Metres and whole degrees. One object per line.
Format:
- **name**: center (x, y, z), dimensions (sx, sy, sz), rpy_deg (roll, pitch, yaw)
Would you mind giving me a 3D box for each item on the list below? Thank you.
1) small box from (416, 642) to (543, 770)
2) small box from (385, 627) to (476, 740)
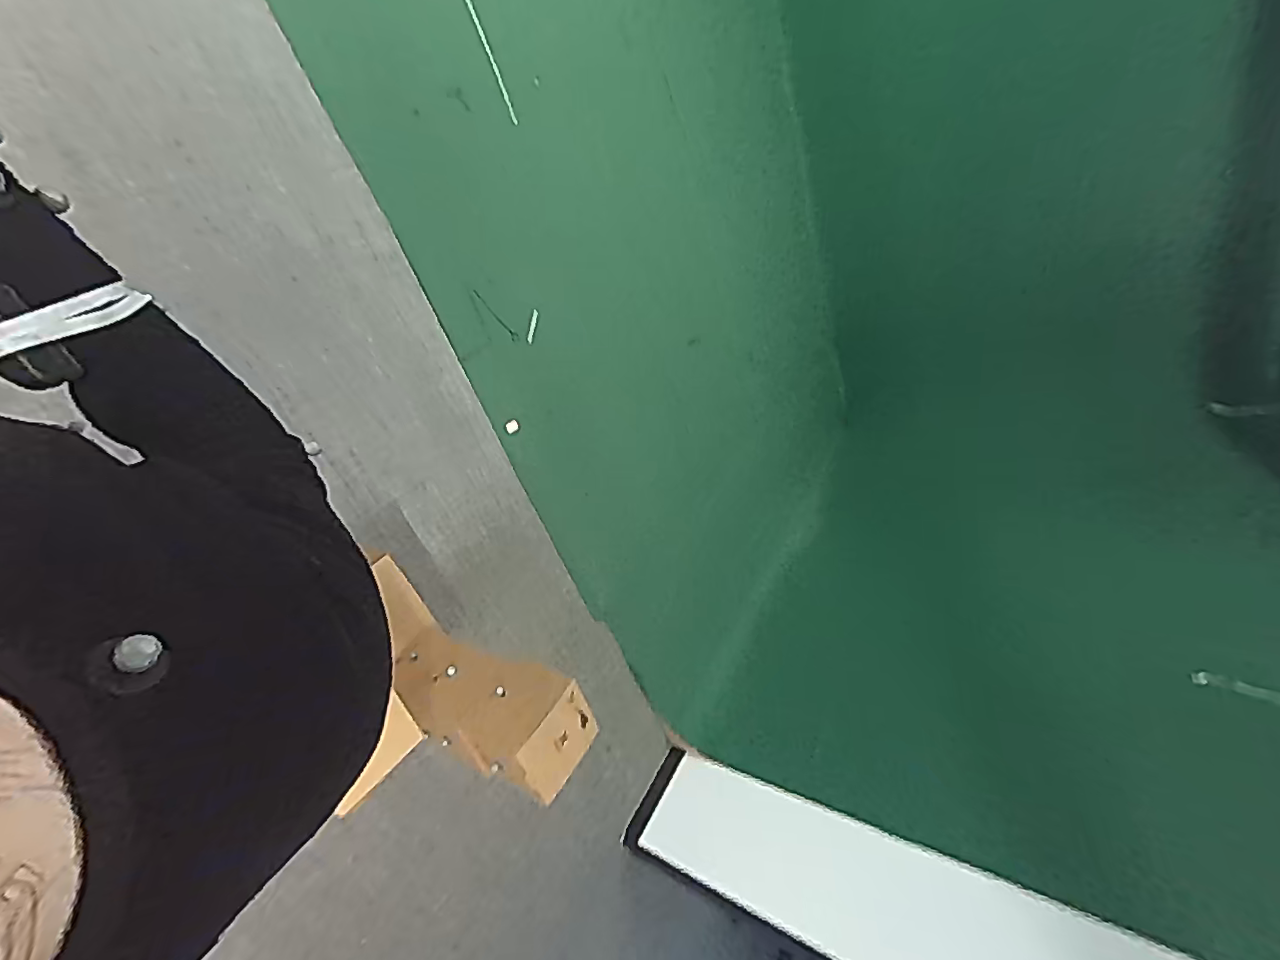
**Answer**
- **small box**: center (-0.350, 0.484, 1.183), dimensions (0.168, 0.176, 0.179), rpy_deg (-45, 128, -41)
- **small box**: center (-0.473, 0.480, 1.294), dimensions (0.168, 0.176, 0.179), rpy_deg (-47, 130, -40)
